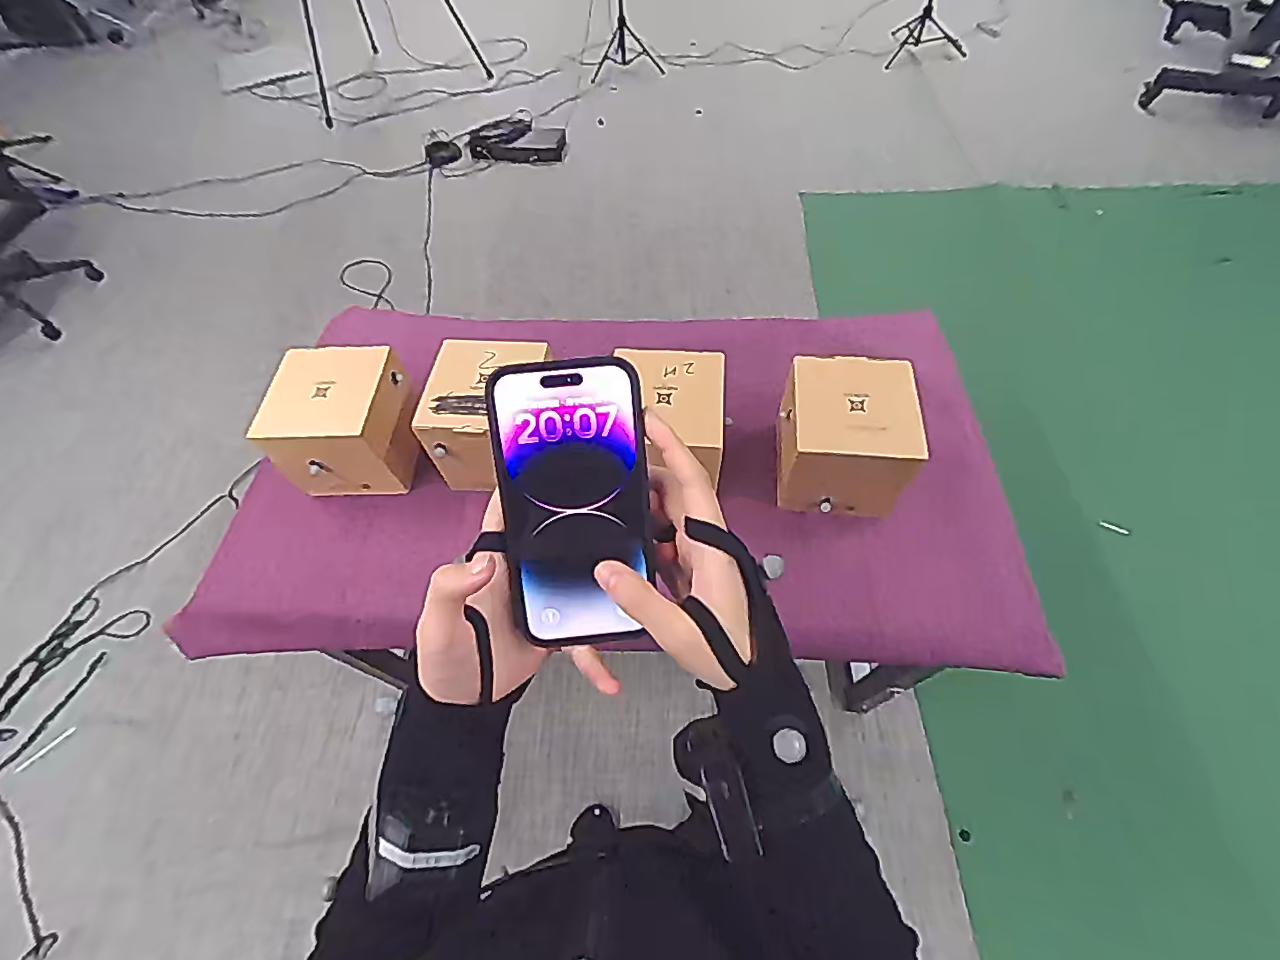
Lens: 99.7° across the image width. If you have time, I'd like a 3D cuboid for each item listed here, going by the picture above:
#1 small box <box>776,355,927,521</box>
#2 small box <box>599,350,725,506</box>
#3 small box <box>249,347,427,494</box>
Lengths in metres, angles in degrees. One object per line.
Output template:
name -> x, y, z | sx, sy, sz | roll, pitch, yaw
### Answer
small box -> 0.298, -0.060, 0.803 | 0.168, 0.176, 0.179 | 4, 58, 7
small box -> 0.039, -0.074, 0.825 | 0.168, 0.176, 0.179 | 4, 58, 5
small box -> -0.461, -0.087, 0.860 | 0.168, 0.176, 0.179 | -2, 57, 2
